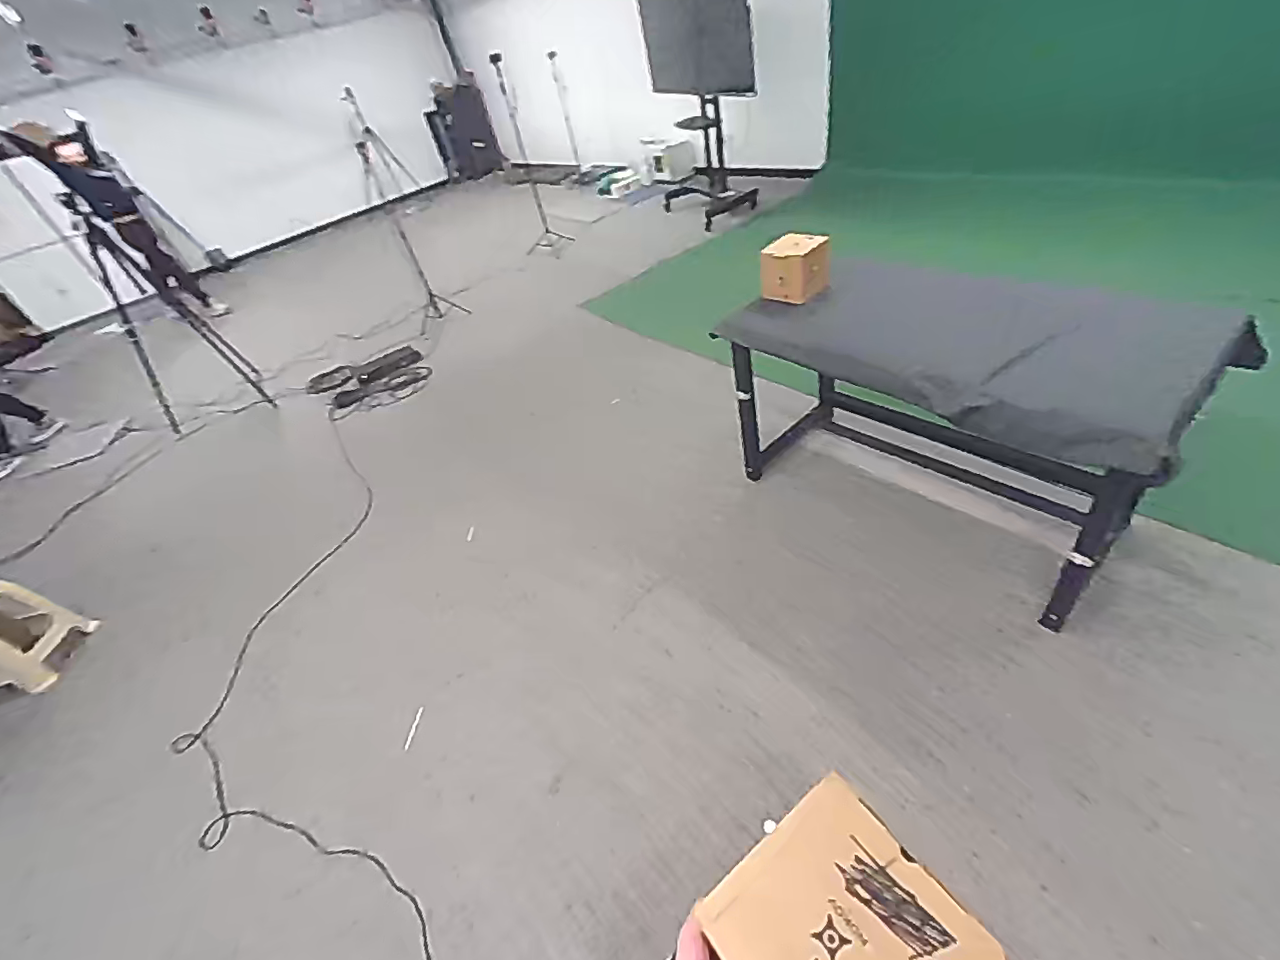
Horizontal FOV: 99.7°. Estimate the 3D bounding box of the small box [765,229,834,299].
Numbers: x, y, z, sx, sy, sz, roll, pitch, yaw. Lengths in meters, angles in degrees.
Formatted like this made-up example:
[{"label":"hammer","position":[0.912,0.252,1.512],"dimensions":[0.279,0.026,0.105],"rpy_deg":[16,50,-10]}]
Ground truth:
[{"label":"small box","position":[0.559,-0.752,1.885],"dimensions":[0.179,0.176,0.168],"rpy_deg":[-40,46,-25]}]
